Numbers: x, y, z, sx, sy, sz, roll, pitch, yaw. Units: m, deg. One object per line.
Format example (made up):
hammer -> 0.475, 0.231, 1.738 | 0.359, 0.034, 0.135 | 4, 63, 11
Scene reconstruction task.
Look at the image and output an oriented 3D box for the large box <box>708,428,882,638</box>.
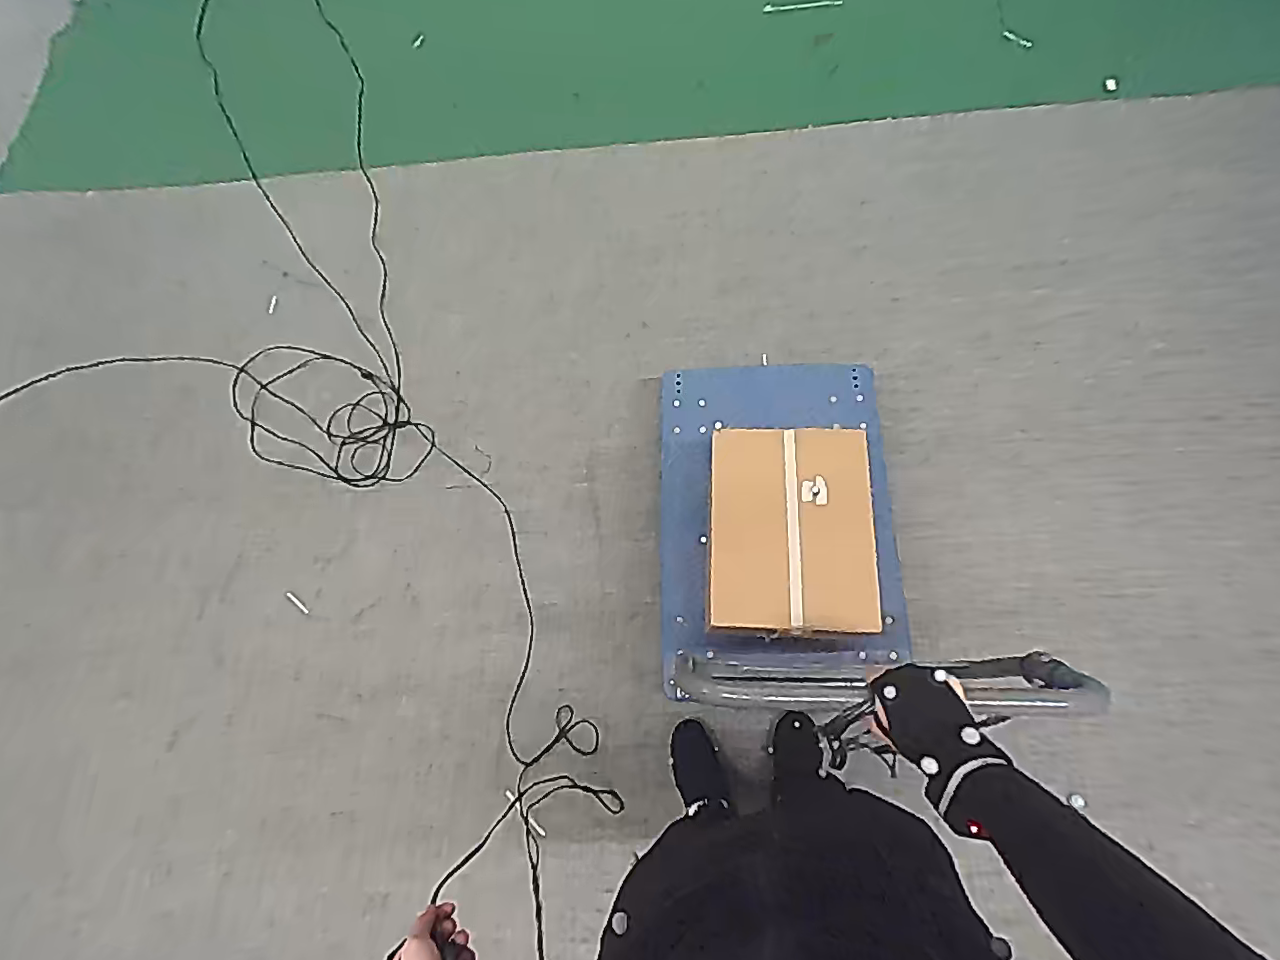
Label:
large box -> 0.306, 0.132, 1.190 | 0.320, 0.320, 0.408 | 2, 71, 5
